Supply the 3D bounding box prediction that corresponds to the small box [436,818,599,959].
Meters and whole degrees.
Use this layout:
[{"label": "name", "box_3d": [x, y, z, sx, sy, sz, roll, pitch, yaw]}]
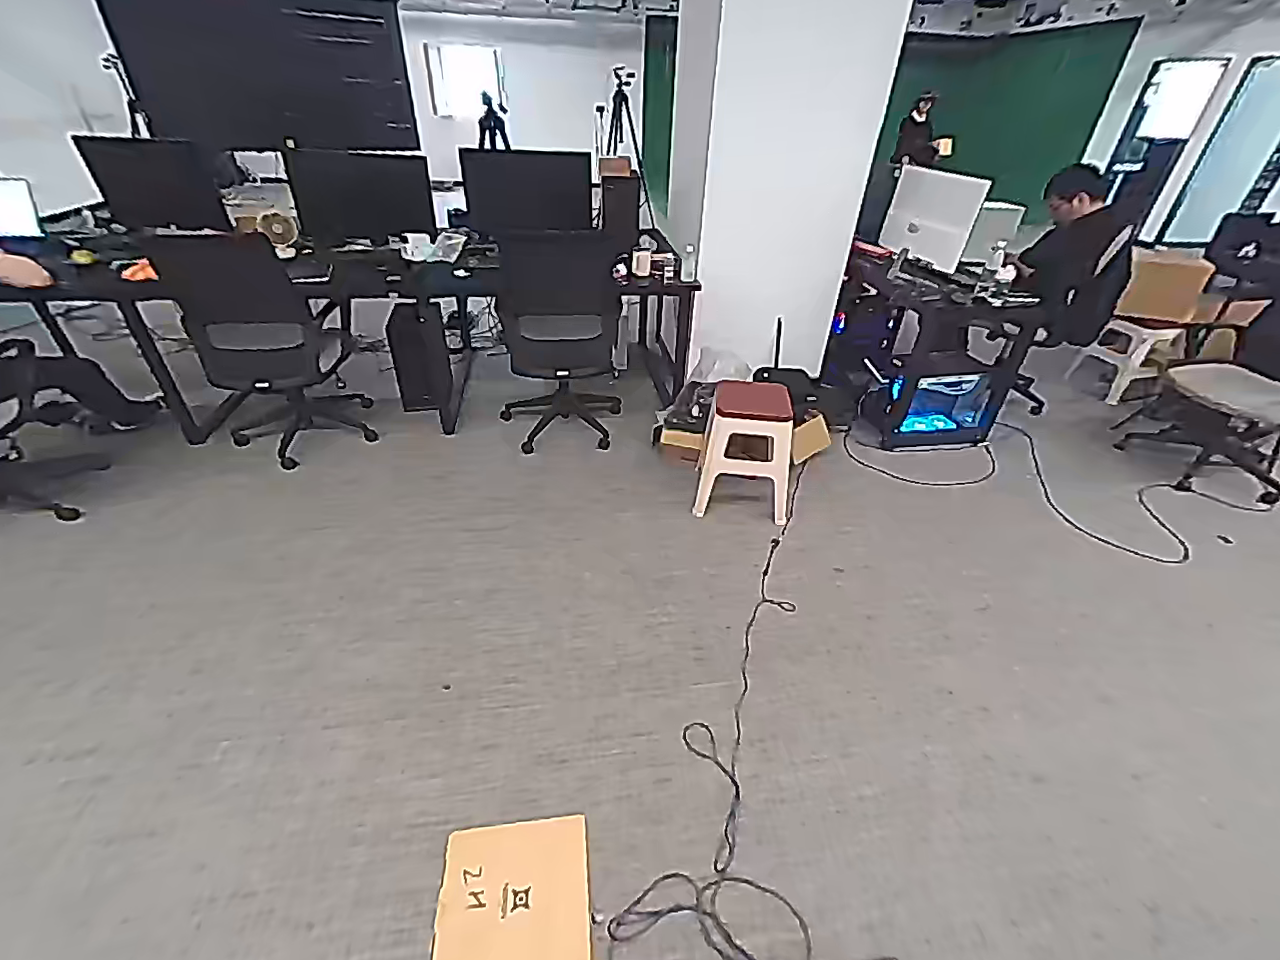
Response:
[{"label": "small box", "box_3d": [-0.141, 0.555, 0.674, 0.179, 0.176, 0.168, -4, 34, -5]}]
